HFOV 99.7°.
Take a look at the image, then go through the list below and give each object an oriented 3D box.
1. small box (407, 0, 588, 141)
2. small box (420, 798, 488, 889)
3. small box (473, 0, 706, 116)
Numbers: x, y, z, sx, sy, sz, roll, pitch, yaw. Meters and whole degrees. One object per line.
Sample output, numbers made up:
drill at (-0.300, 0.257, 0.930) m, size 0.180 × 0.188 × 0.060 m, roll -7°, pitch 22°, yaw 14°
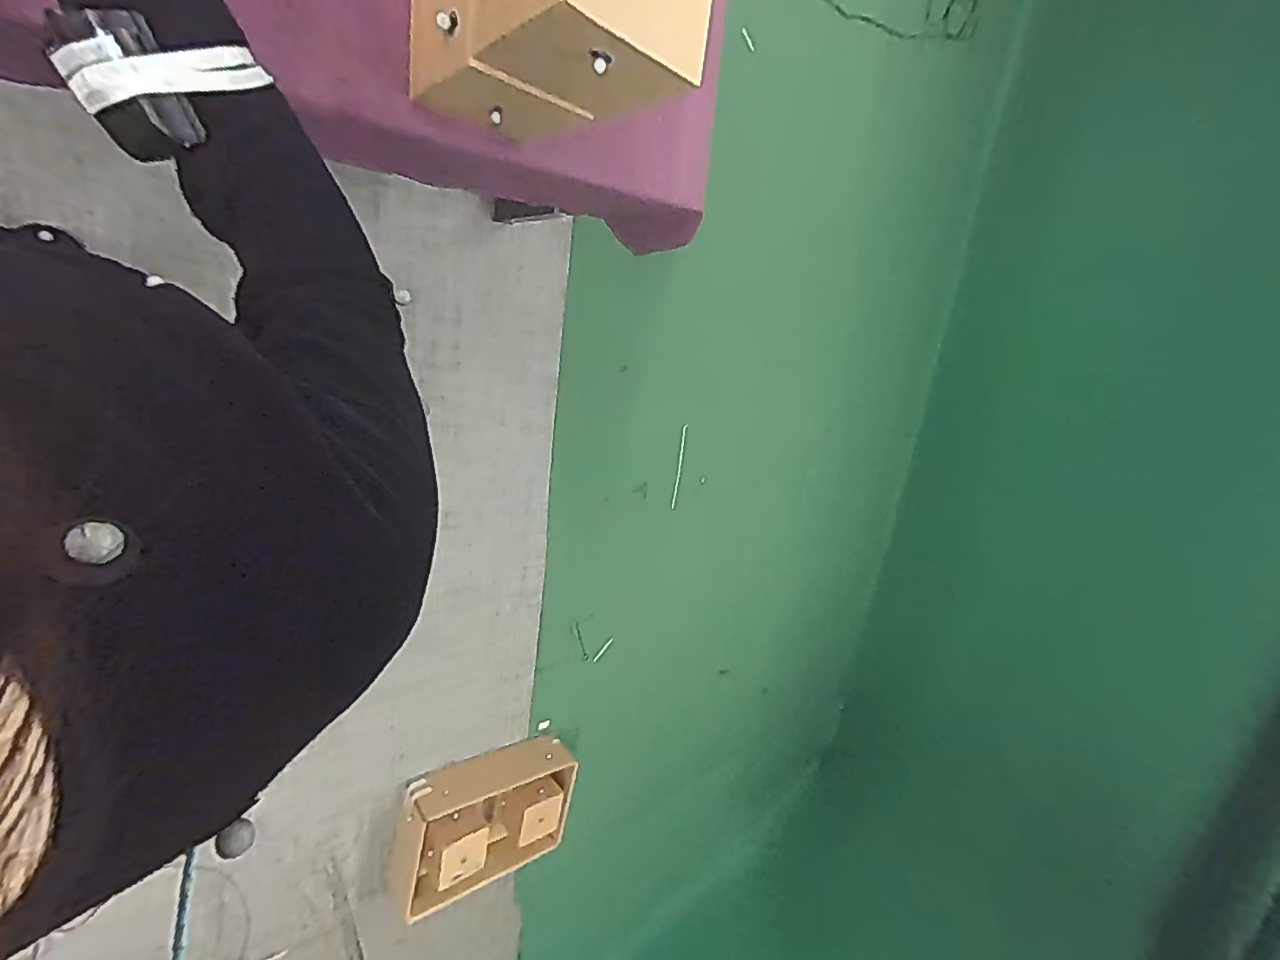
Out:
small box at (-0.168, -0.538, 0.654) m, size 0.168 × 0.176 × 0.179 m, roll -7°, pitch 110°, yaw -43°
small box at (-0.646, 1.239, 1.868) m, size 0.168 × 0.176 × 0.179 m, roll -2°, pitch 106°, yaw -44°
small box at (-0.051, -0.497, 0.545) m, size 0.179 × 0.176 × 0.168 m, roll -7°, pitch 111°, yaw -43°
